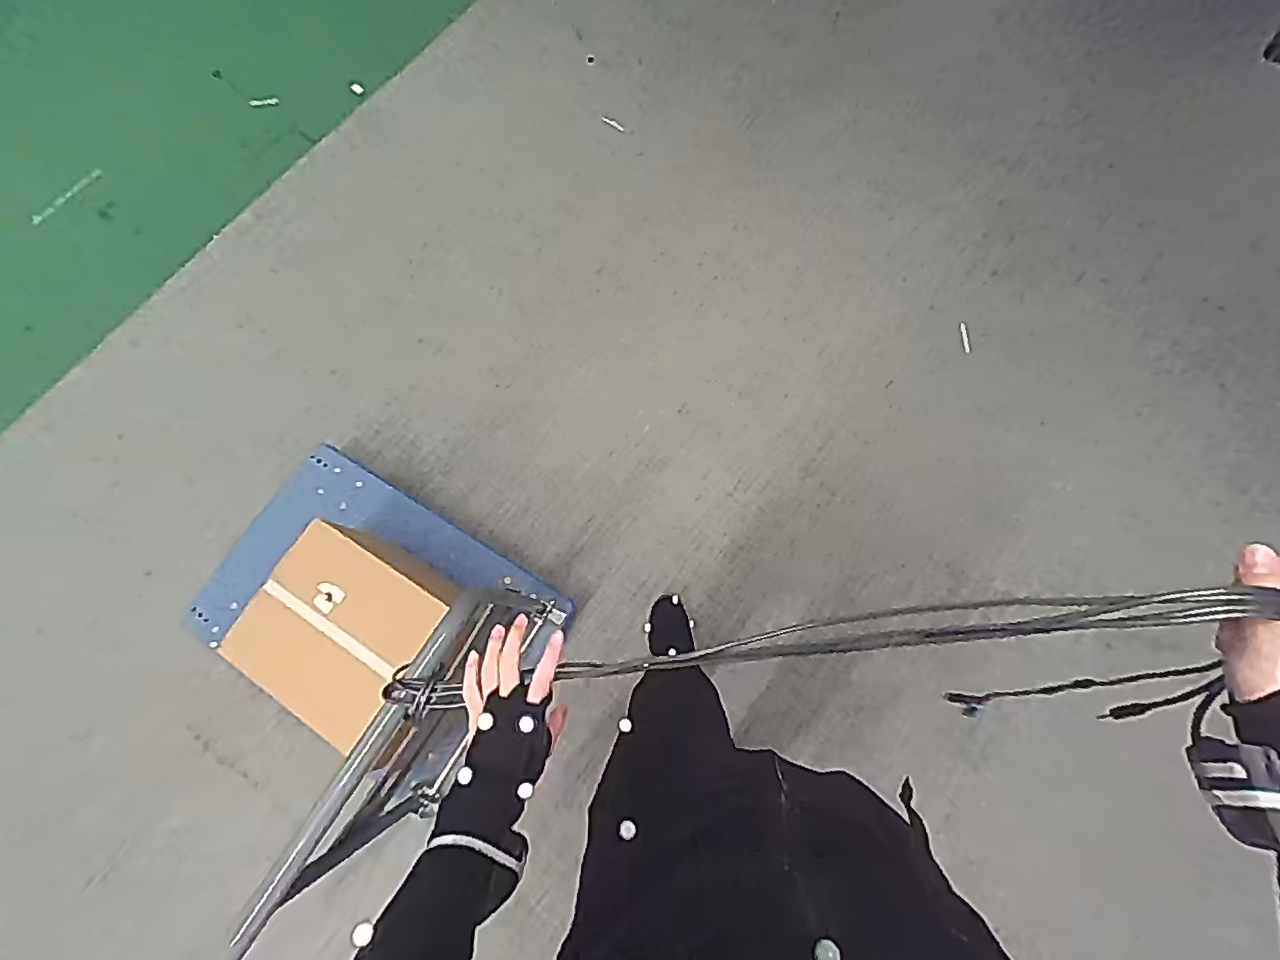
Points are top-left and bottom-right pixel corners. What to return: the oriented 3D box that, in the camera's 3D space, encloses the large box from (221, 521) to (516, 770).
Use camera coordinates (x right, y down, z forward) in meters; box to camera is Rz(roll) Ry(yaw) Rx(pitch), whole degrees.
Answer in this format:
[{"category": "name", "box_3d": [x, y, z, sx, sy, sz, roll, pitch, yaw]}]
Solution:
[{"category": "large box", "box_3d": [-0.550, 0.342, 1.170, 0.408, 0.320, 0.320, 30, 78, 13]}]
